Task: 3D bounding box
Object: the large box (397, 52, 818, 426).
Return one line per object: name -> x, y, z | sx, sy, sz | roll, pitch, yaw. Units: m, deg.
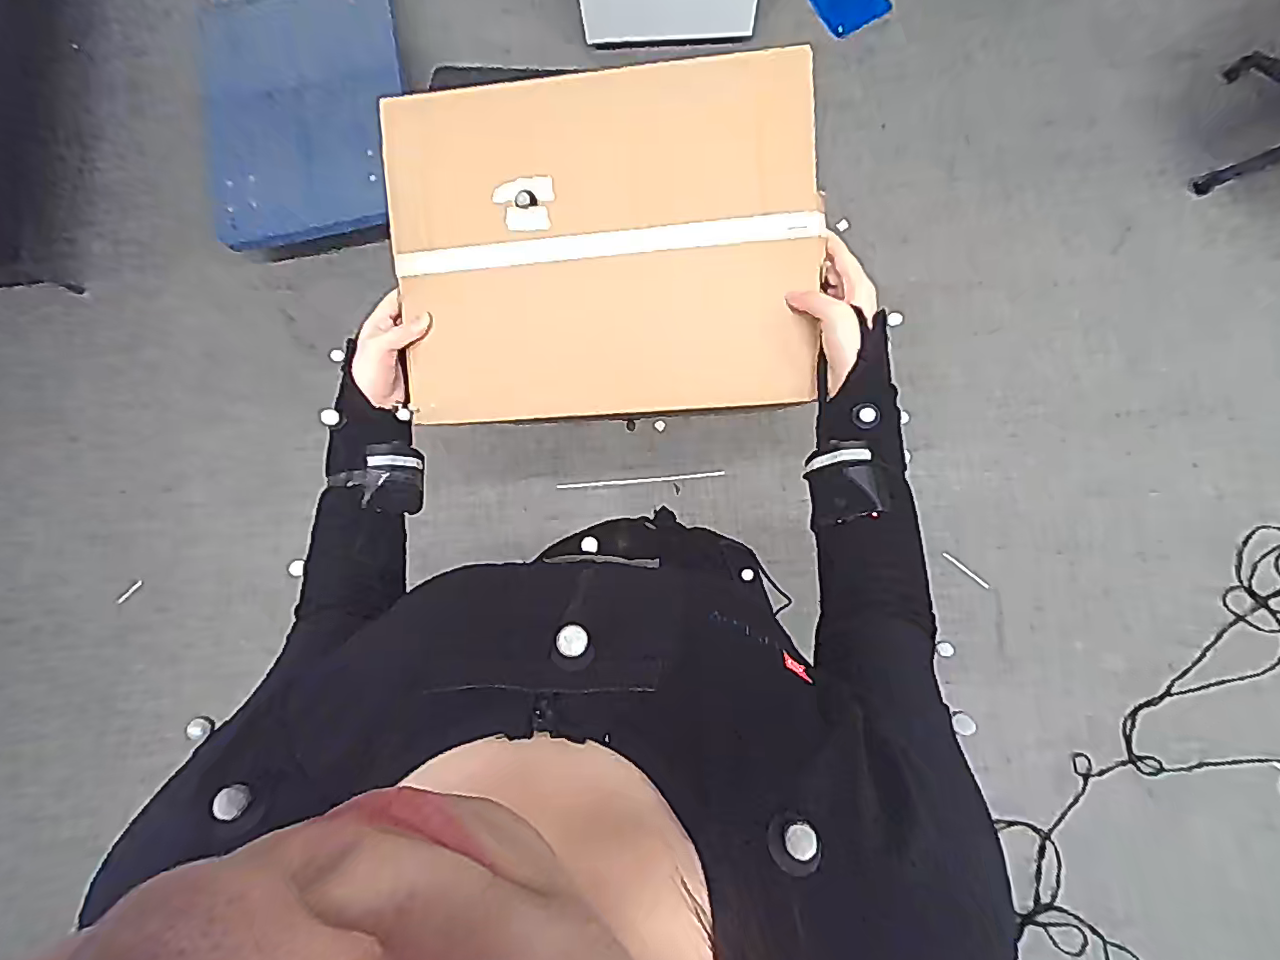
large box -> -0.016, -0.239, 0.673 | 0.408, 0.320, 0.320 | -3, 95, 8
